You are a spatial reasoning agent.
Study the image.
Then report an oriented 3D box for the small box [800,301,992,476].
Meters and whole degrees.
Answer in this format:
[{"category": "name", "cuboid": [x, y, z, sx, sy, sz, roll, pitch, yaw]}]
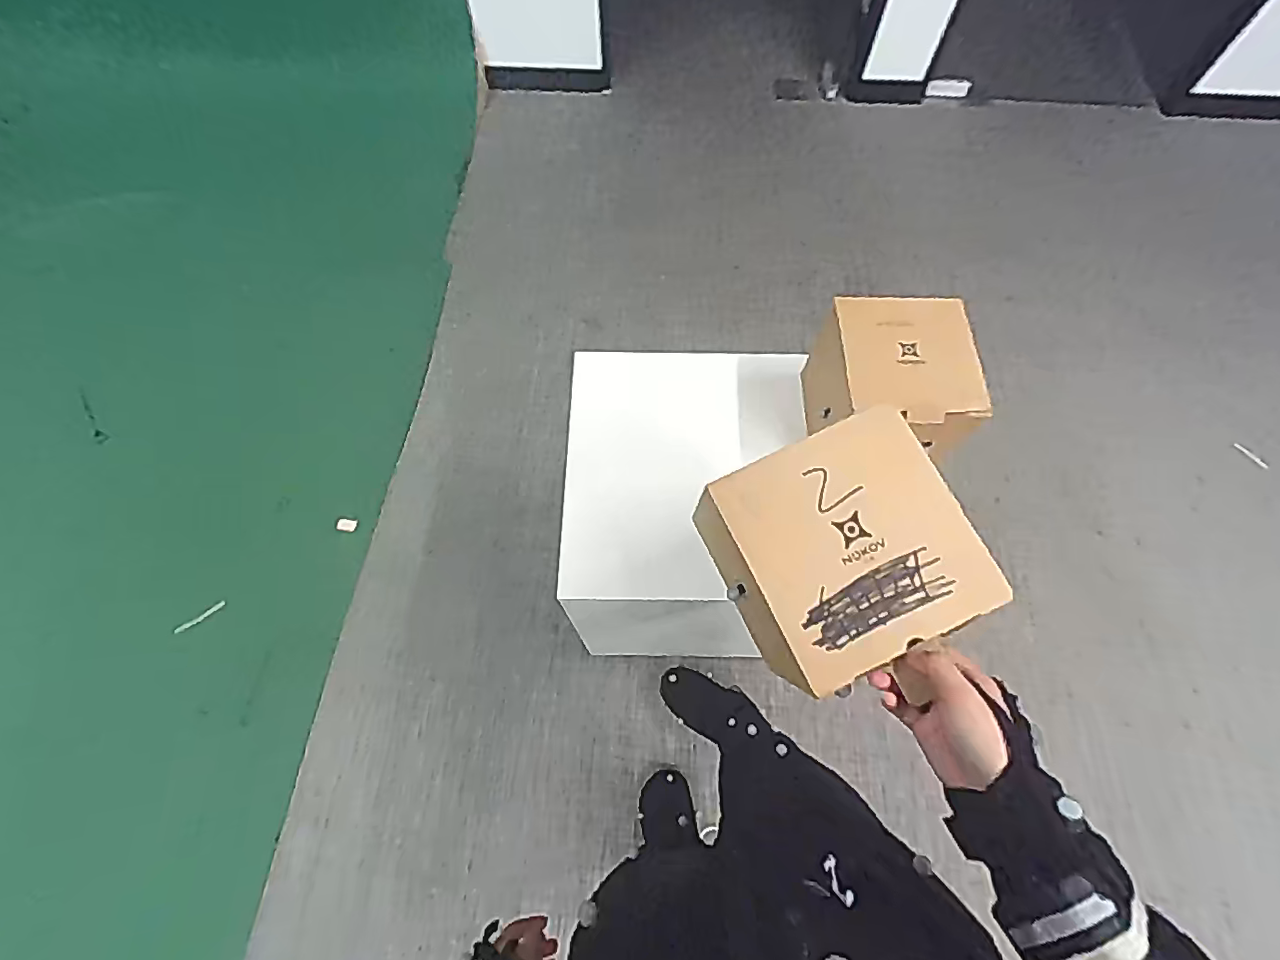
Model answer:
[{"category": "small box", "cuboid": [0.325, -0.115, 0.727, 0.168, 0.176, 0.179, 1, 65, 0]}]
